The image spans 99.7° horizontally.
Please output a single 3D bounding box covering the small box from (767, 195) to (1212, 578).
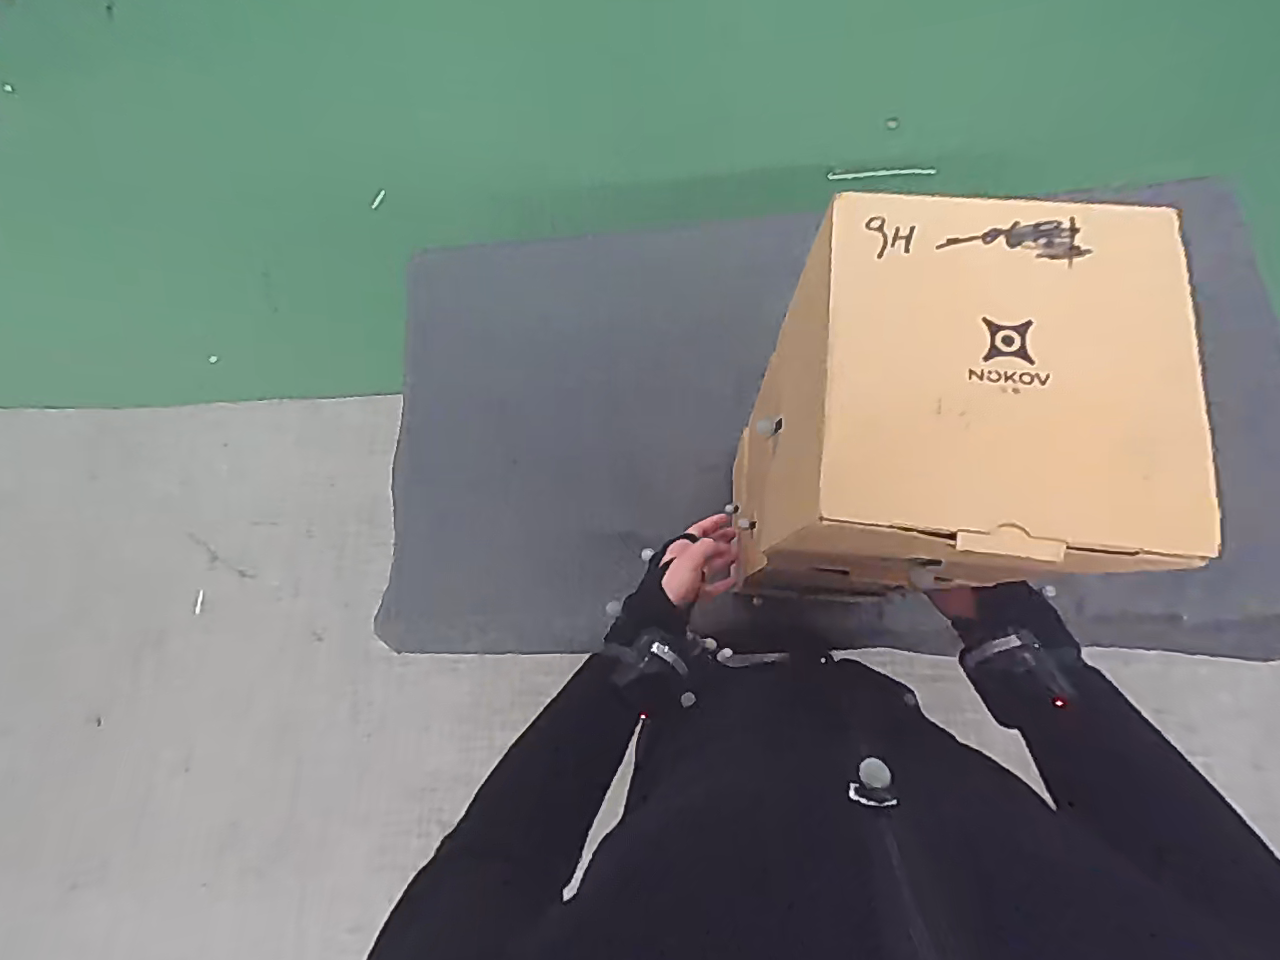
[{"bbox_3d":[0.175,-0.037,0.328,0.168,0.176,0.179,6,79,6],"label":"small box"}]

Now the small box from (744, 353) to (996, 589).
[{"bbox_3d":[0.187,0.004,0.486,0.168,0.176,0.179,3,76,5],"label":"small box"}]

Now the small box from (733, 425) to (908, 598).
[{"bbox_3d":[0.201,0.046,0.641,0.168,0.176,0.179,2,76,6],"label":"small box"}]
